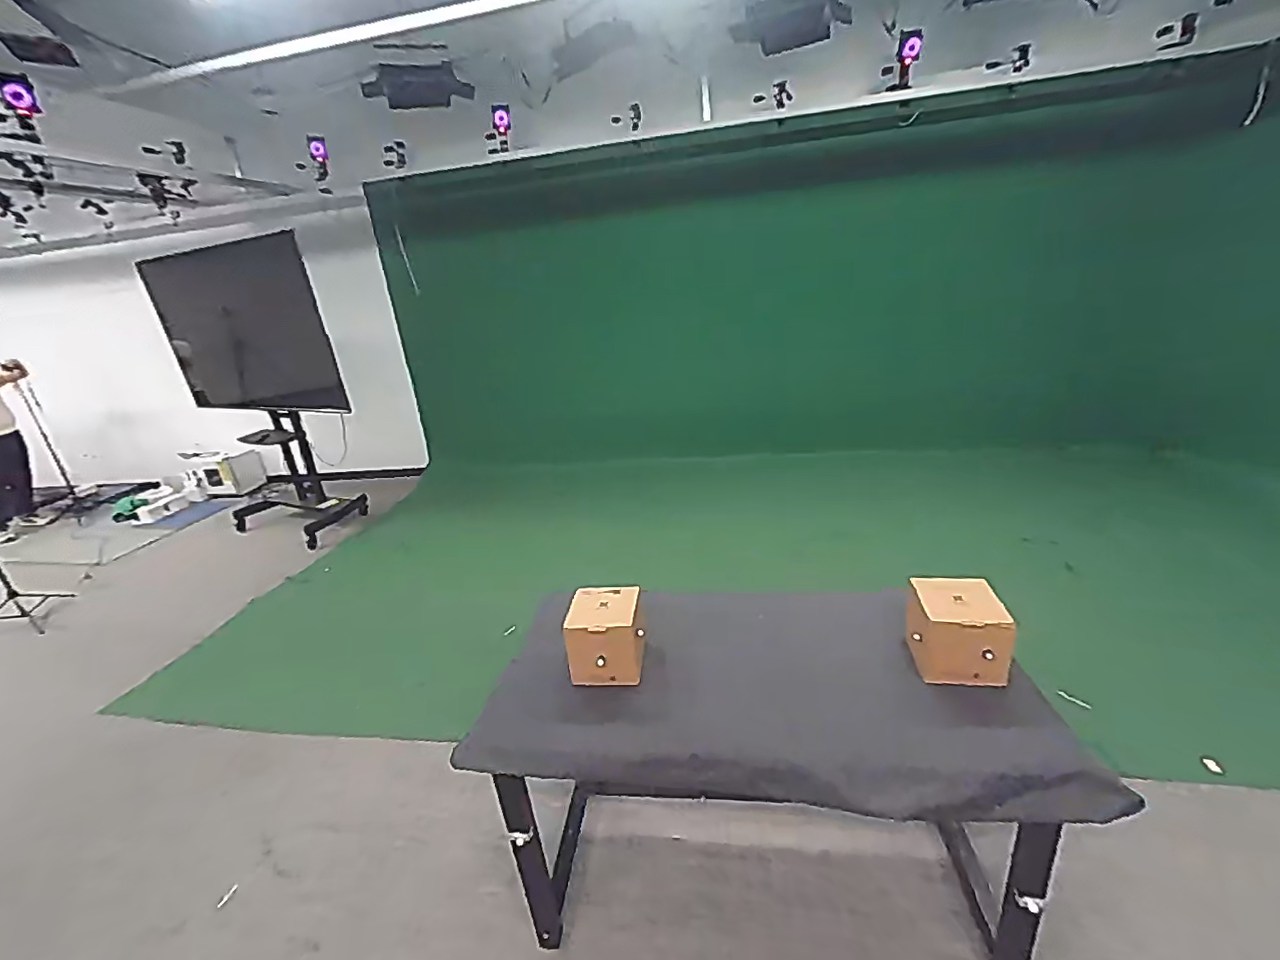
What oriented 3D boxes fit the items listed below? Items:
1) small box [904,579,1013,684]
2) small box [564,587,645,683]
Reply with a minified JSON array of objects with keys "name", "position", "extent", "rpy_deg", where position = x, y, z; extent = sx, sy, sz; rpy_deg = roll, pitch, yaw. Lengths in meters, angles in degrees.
[{"name":"small box","position":[0.717,0.344,1.236],"extent":[0.168,0.176,0.179],"rpy_deg":[-1,20,12]},{"name":"small box","position":[-0.081,0.389,1.354],"extent":[0.168,0.176,0.179],"rpy_deg":[-3,21,8]}]
